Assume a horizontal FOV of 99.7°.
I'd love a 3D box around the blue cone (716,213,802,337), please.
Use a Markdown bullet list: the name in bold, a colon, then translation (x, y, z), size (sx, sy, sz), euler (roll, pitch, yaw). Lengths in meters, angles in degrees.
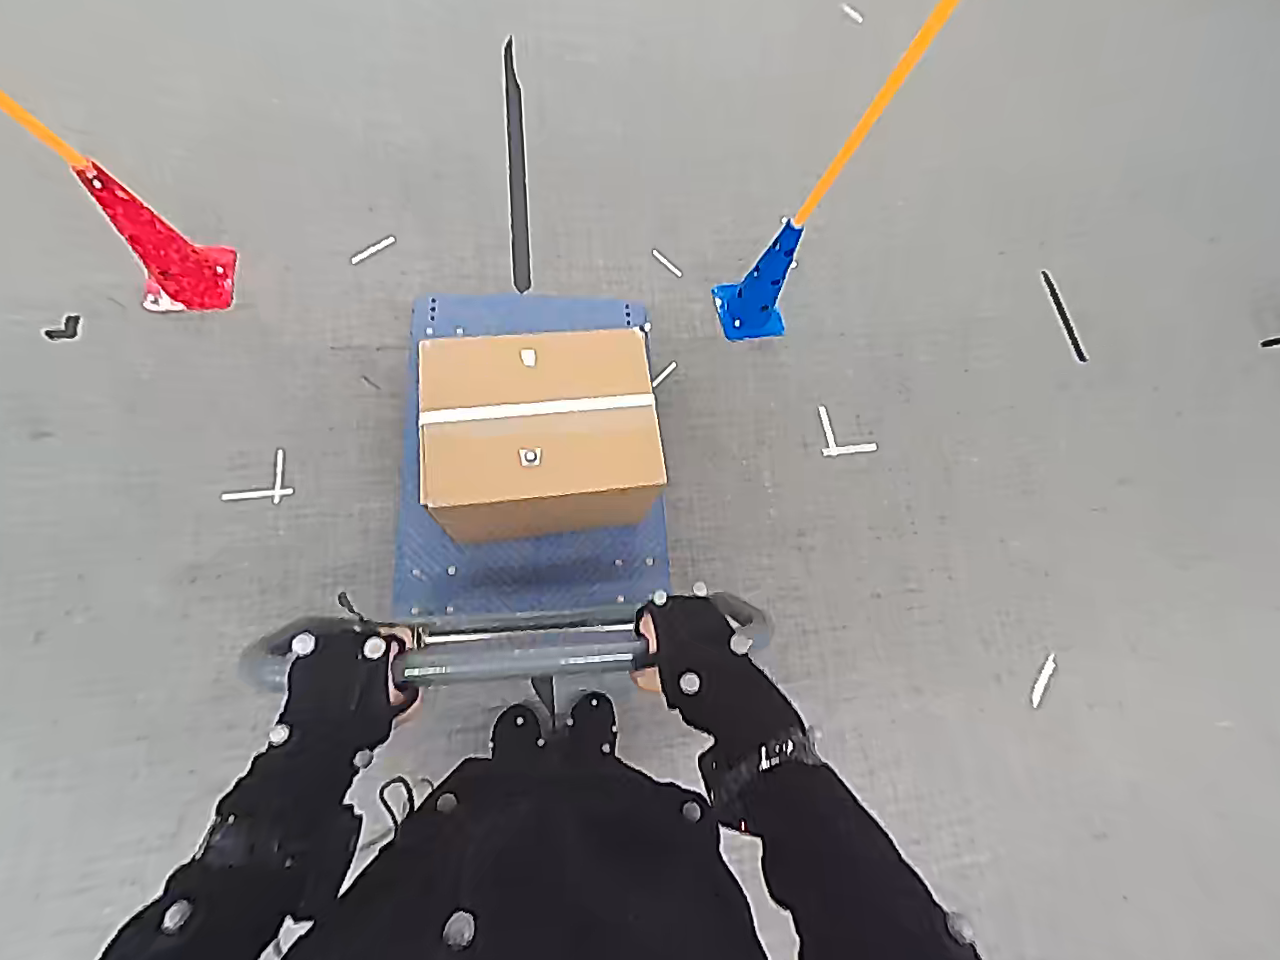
- **blue cone**: translation (0.365, -0.582, 1.520), size (0.193, 0.380, 0.192), euler (-8, 72, -12)
